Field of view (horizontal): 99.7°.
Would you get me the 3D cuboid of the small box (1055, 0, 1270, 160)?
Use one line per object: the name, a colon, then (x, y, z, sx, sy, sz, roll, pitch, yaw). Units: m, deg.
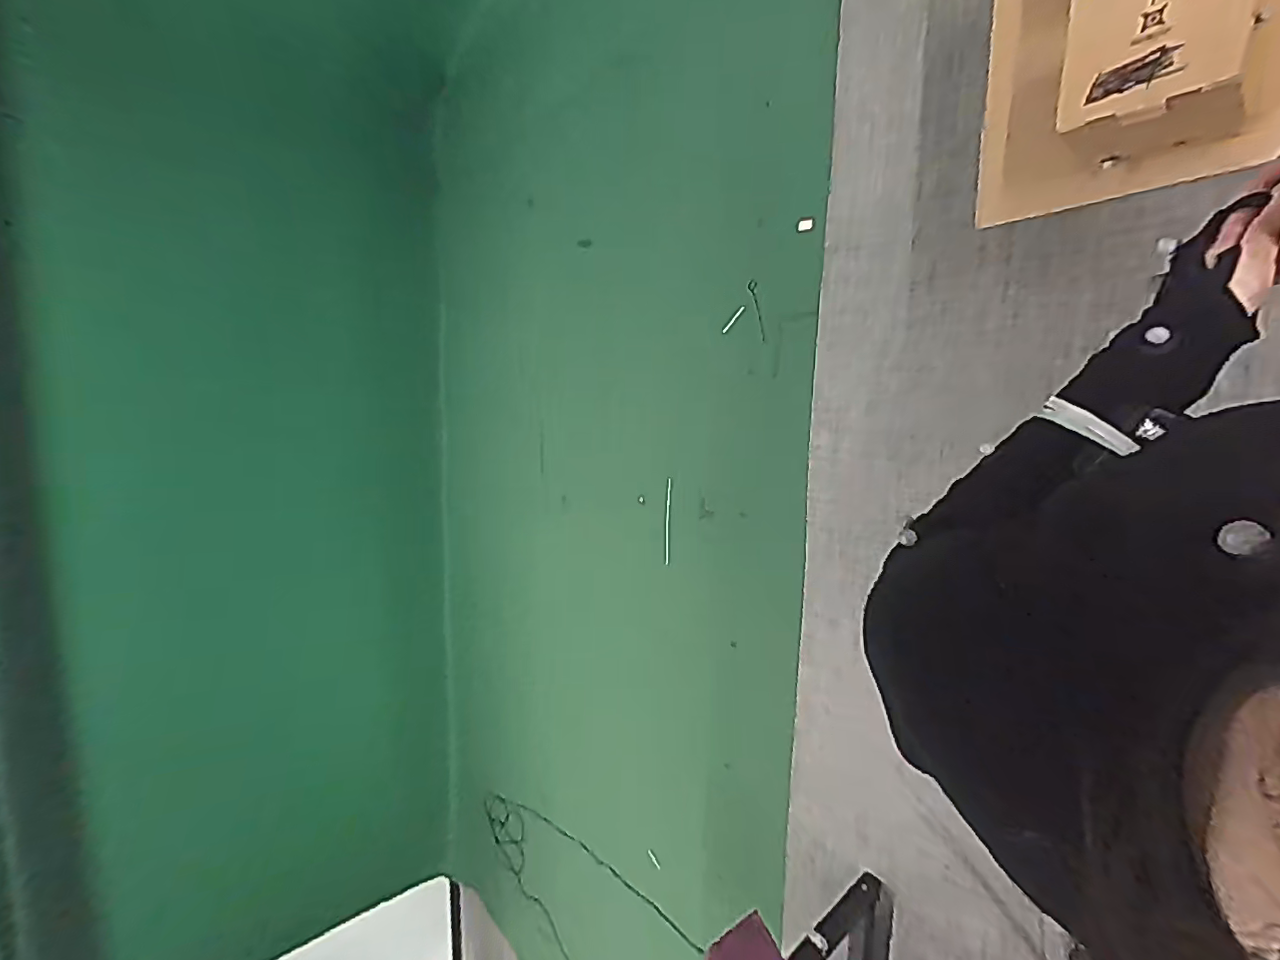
small box: (0.660, -0.534, 0.683, 0.168, 0.176, 0.179, 11, 101, 49)
